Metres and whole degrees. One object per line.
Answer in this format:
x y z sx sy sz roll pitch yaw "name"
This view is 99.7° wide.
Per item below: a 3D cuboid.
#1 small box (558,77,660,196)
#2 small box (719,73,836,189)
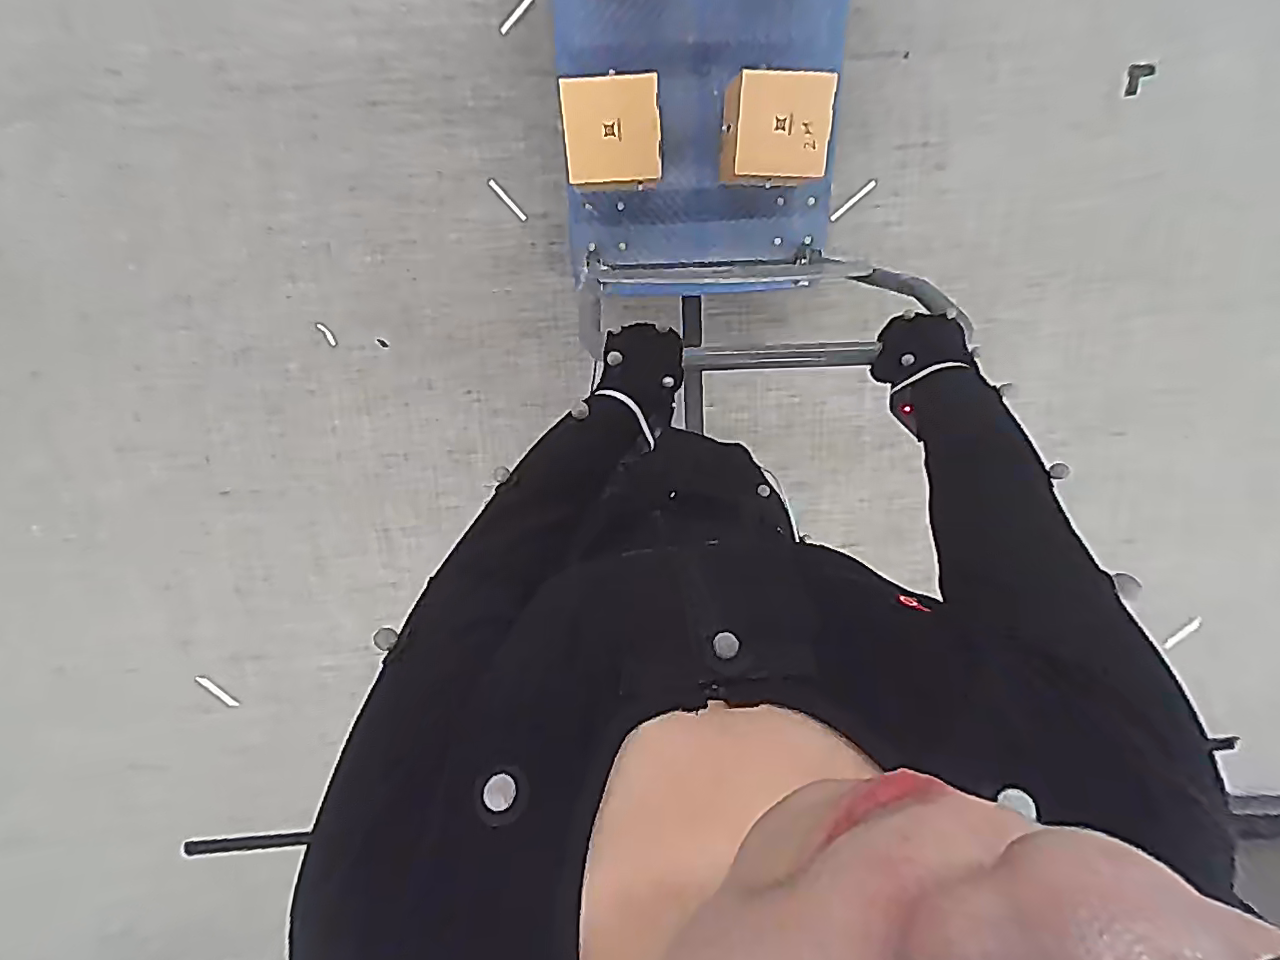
-0.058 -0.658 1.053 0.179 0.176 0.168 -6 113 -3 "small box"
0.258 -0.675 1.064 0.179 0.176 0.168 0 113 -3 "small box"
